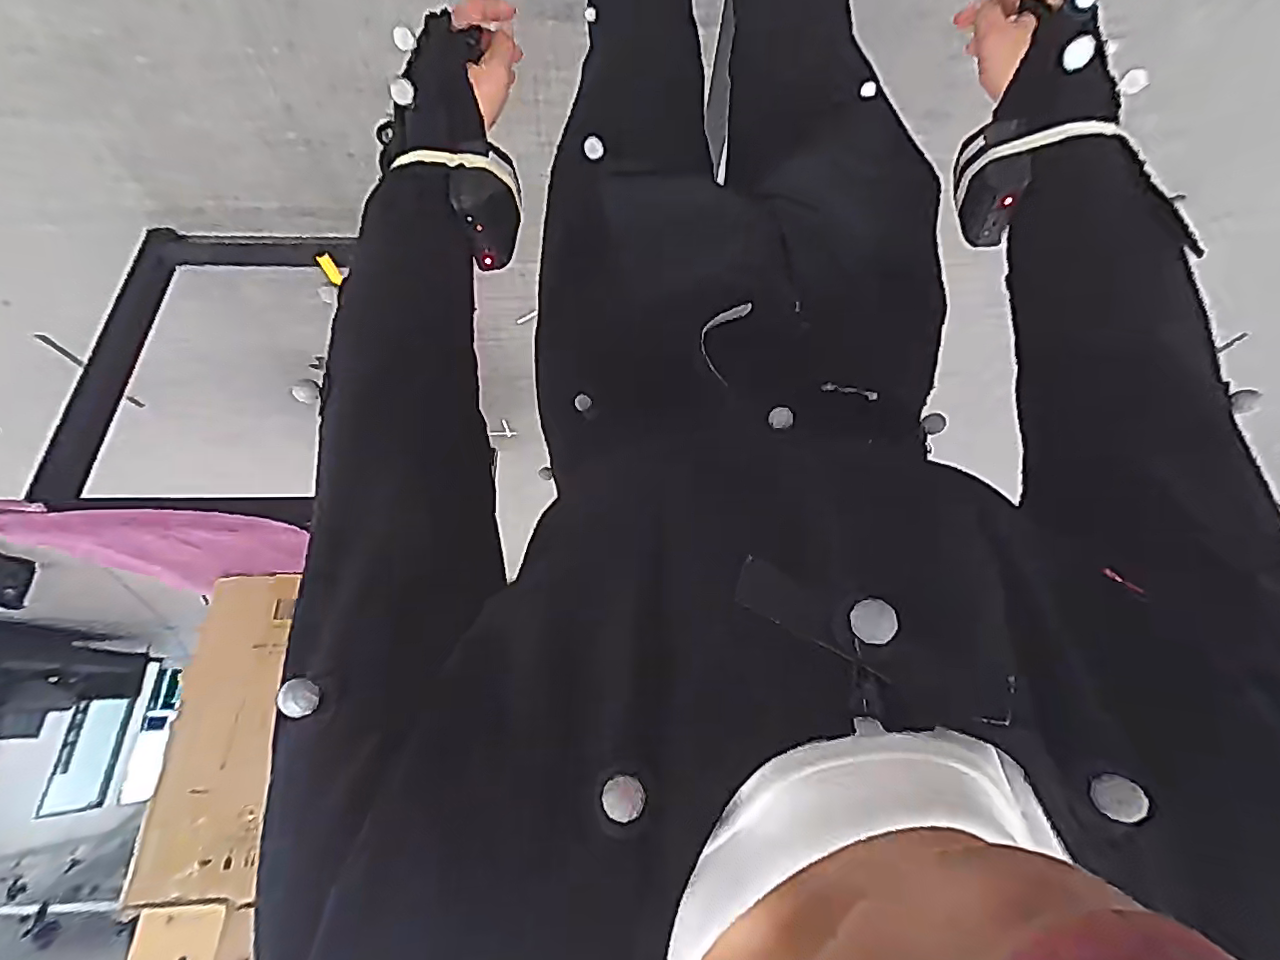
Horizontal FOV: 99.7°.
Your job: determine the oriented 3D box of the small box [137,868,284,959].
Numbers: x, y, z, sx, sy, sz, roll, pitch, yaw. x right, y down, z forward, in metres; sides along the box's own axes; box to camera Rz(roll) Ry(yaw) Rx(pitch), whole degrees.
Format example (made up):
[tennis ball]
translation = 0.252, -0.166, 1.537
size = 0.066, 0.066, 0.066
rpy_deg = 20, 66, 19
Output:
[small box]
translation = -0.855, 0.902, 1.078
size = 0.168, 0.176, 0.179
rpy_deg = -2, 158, 1
